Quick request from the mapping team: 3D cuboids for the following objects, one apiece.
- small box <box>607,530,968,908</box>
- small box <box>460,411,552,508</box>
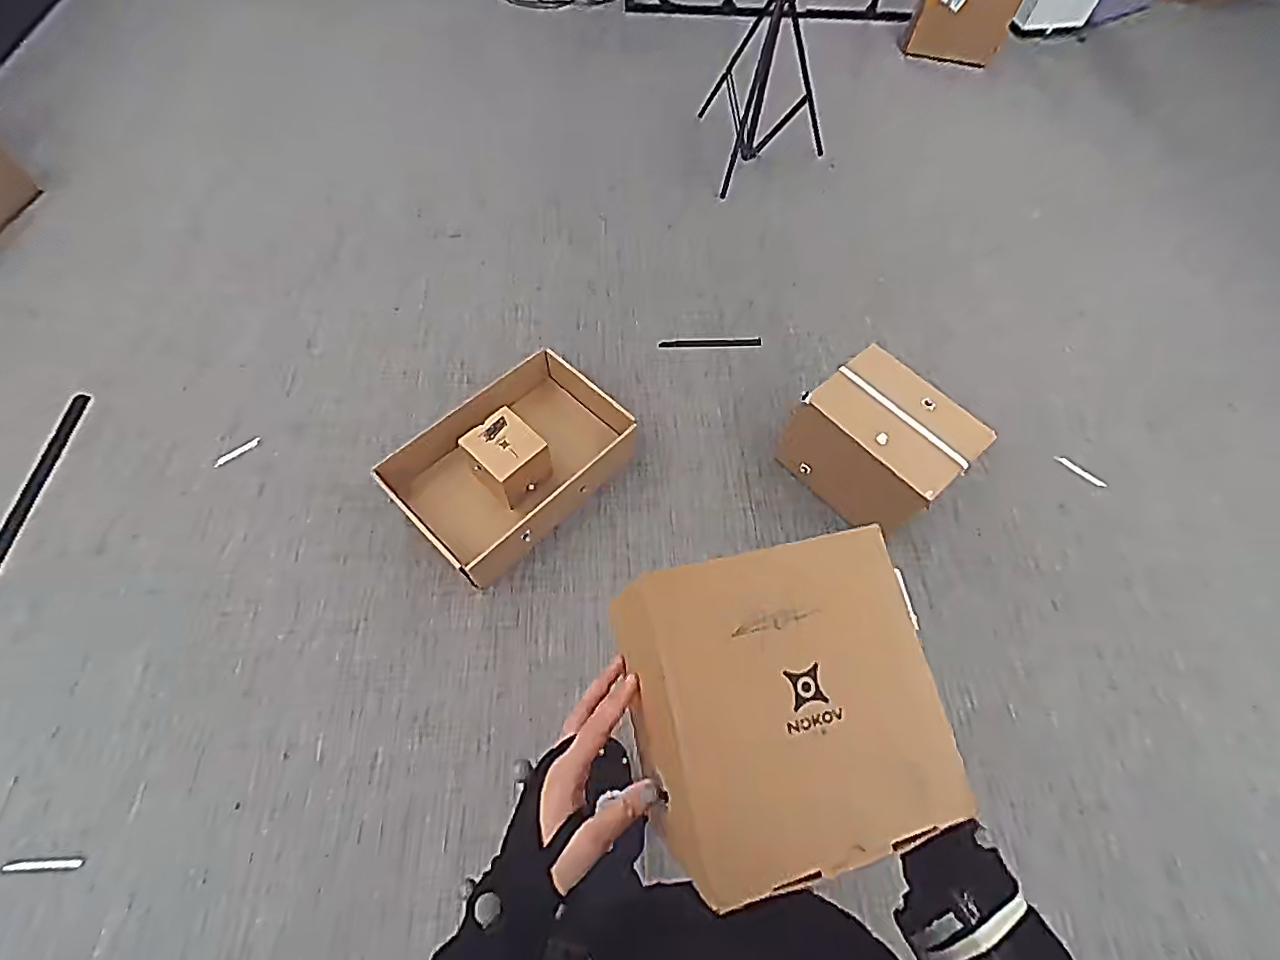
[{"bbox_3d":[0.080,0.151,0.392,0.168,0.176,0.179,-11,73,-15],"label":"small box"},{"bbox_3d":[-0.365,-0.052,1.504,0.179,0.176,0.168,41,67,17],"label":"small box"}]
